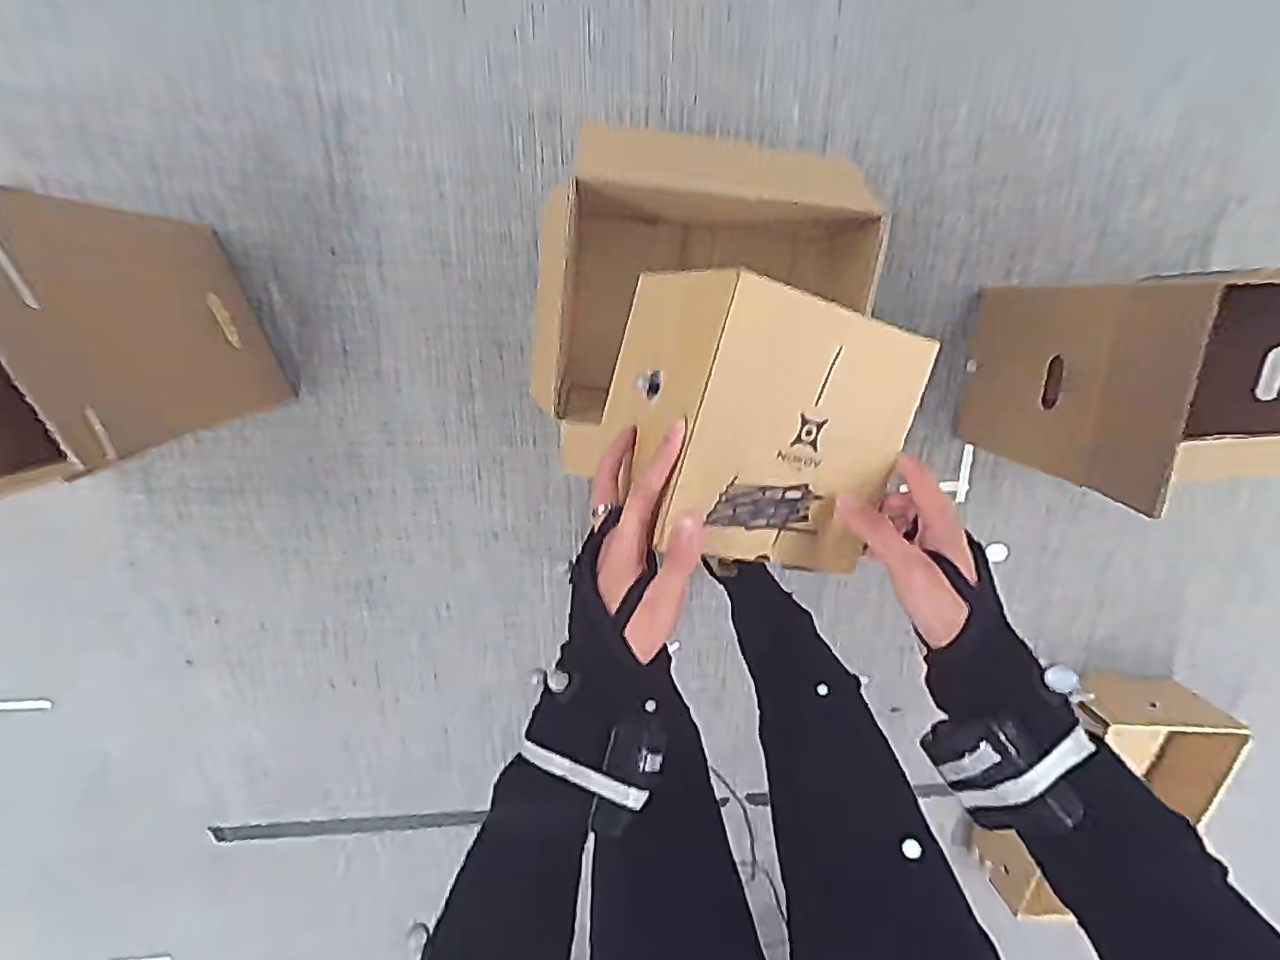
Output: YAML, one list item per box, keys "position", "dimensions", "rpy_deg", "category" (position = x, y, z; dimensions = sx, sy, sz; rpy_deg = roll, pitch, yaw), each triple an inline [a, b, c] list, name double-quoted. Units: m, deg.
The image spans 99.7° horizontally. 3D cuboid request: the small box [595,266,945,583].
- position: [0.076, -0.044, 0.408]
  dimensions: [0.168, 0.176, 0.179]
  rpy_deg: [10, 104, -24]
  category: "small box"
